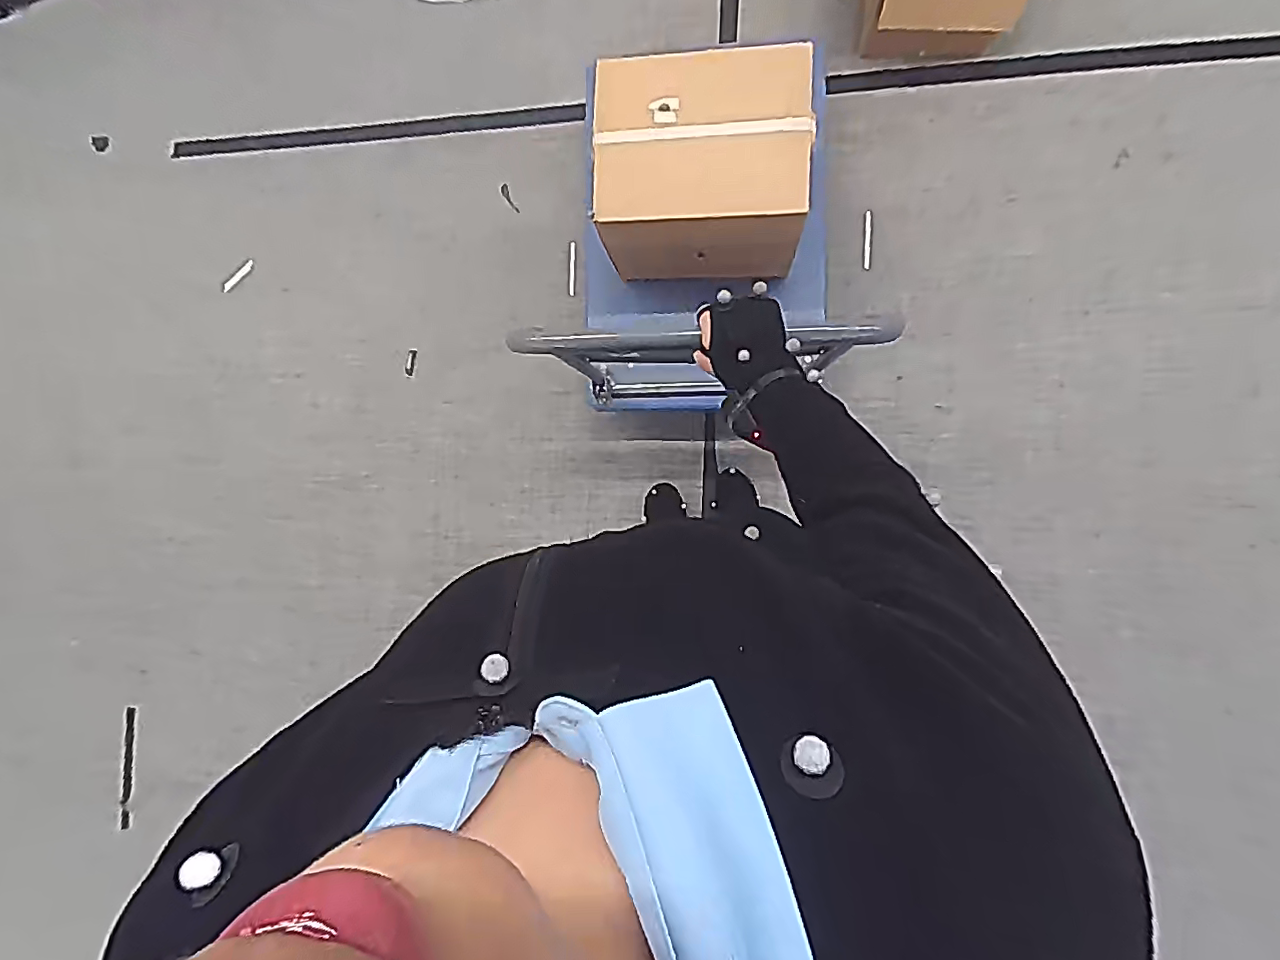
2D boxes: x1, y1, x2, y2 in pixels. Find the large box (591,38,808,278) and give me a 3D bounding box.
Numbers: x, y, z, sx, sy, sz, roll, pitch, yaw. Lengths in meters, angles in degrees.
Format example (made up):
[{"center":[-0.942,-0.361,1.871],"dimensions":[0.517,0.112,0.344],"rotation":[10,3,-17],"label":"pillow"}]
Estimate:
[{"center":[0.129,-0.641,1.144],"dimensions":[0.408,0.320,0.320],"rotation":[1,89,9],"label":"large box"}]
